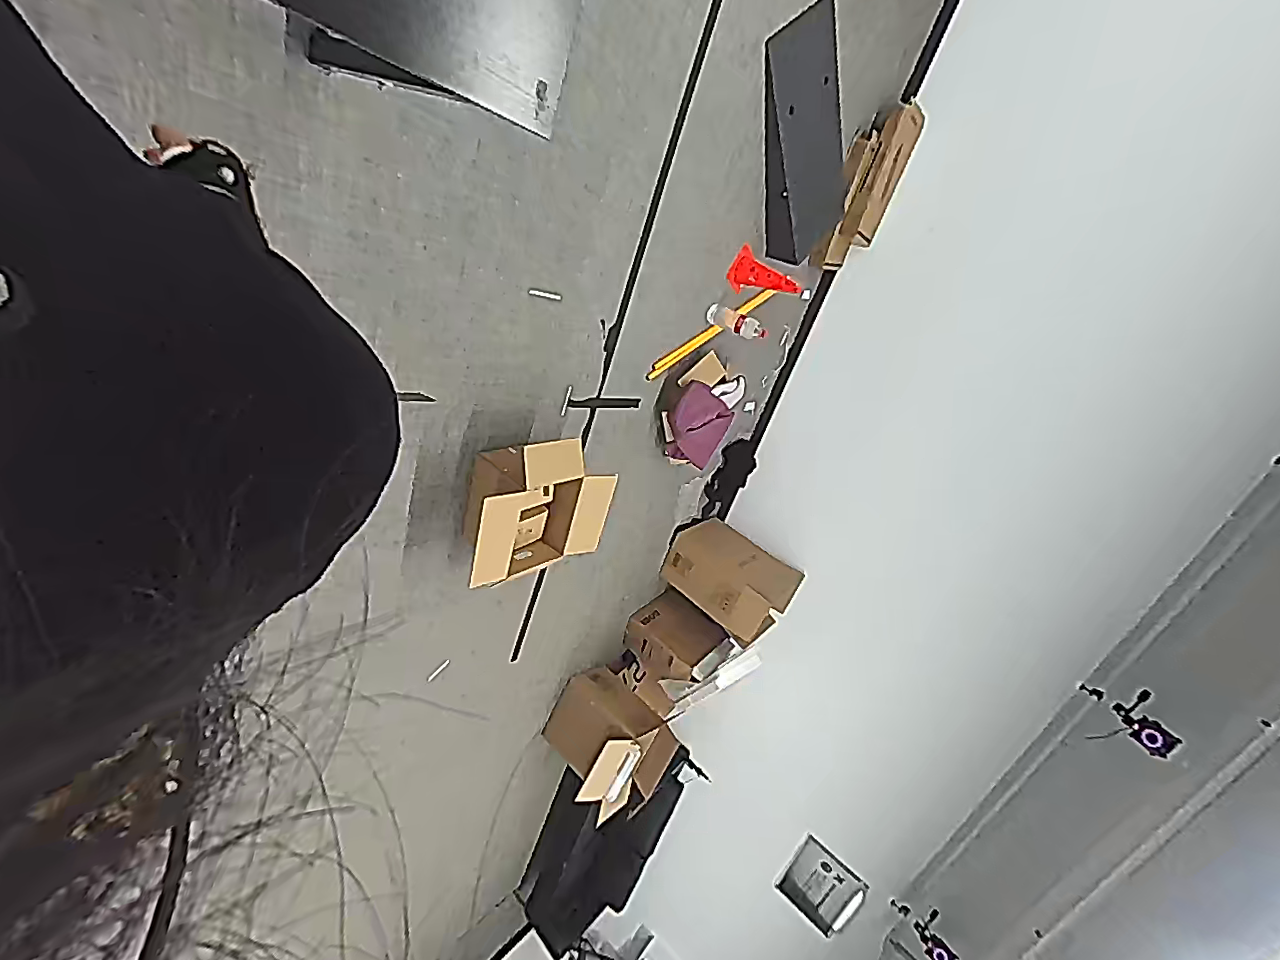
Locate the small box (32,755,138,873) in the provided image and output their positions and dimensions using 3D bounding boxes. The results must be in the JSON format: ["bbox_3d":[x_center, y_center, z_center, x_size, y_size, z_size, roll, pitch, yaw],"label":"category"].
[{"bbox_3d":[-1.491,0.885,1.454,0.179,0.176,0.168,-7,123,-52],"label":"small box"}]
